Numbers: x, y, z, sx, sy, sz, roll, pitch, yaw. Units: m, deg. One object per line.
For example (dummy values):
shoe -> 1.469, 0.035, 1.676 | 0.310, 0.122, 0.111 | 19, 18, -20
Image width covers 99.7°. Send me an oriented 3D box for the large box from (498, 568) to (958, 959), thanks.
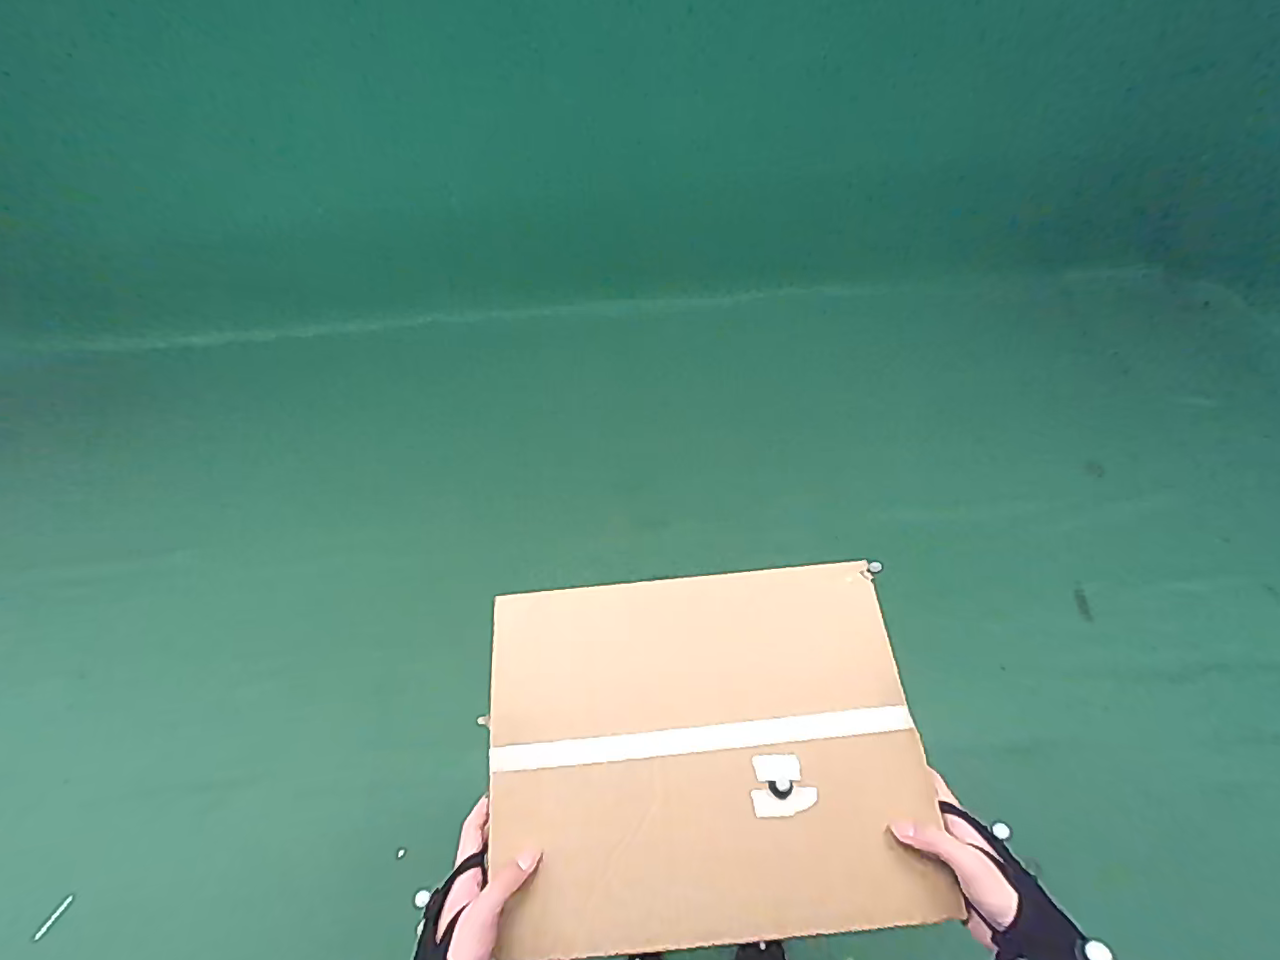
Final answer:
large box -> 0.064, 0.322, 0.656 | 0.408, 0.320, 0.320 | -6, 64, -1
